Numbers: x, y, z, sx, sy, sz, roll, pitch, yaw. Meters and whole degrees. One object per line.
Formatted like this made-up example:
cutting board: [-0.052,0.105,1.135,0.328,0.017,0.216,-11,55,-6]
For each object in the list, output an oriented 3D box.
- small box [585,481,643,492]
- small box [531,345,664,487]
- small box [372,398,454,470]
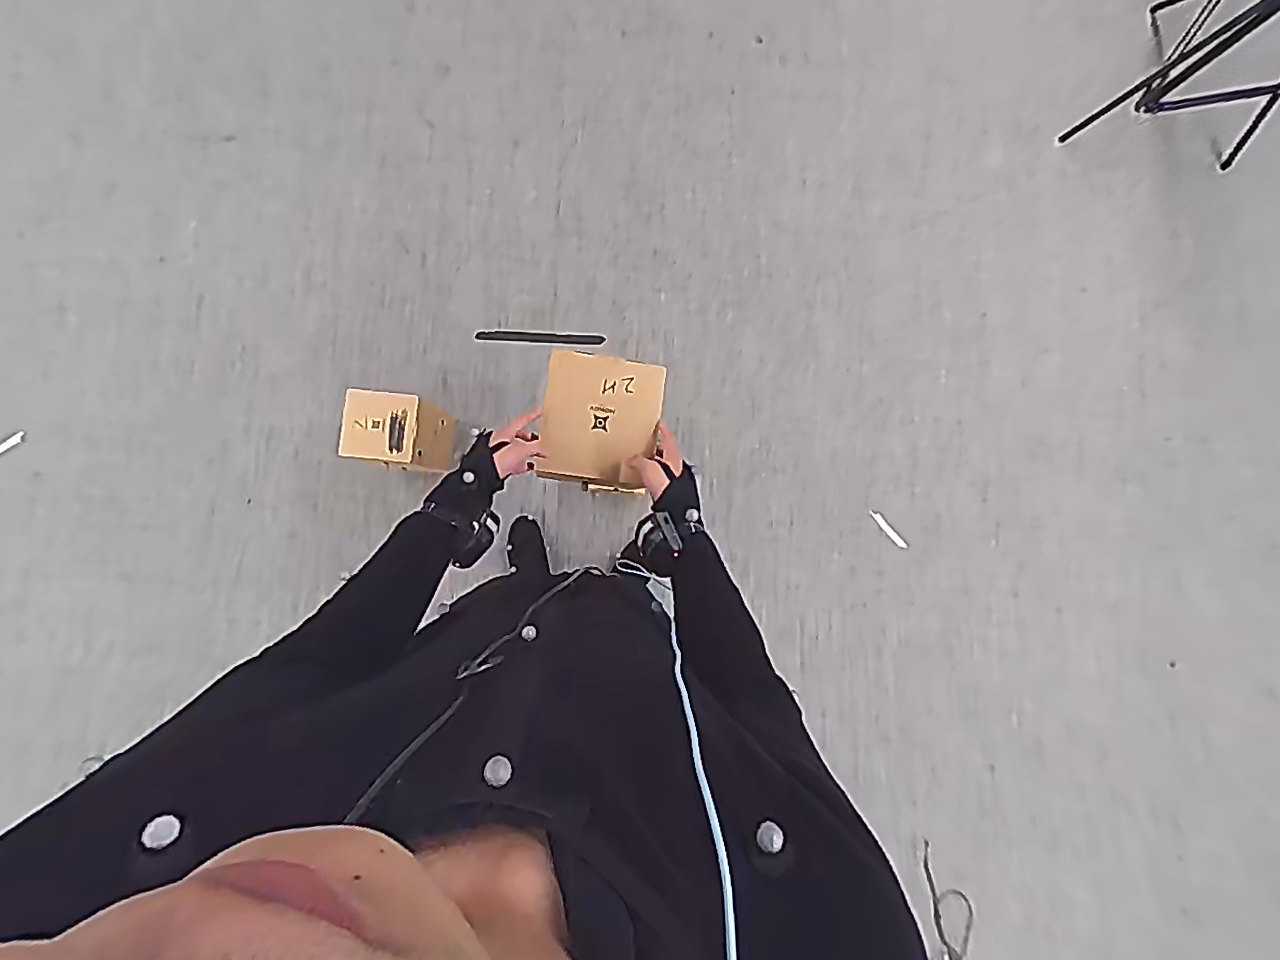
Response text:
small box: [-0.067,-0.060,1.571,0.168,0.176,0.179,6,86,-5]
small box: [-0.068,-0.086,0.823,0.168,0.176,0.179,8,86,-9]
small box: [-0.636,-0.124,1.534,0.168,0.176,0.179,4,86,-4]
